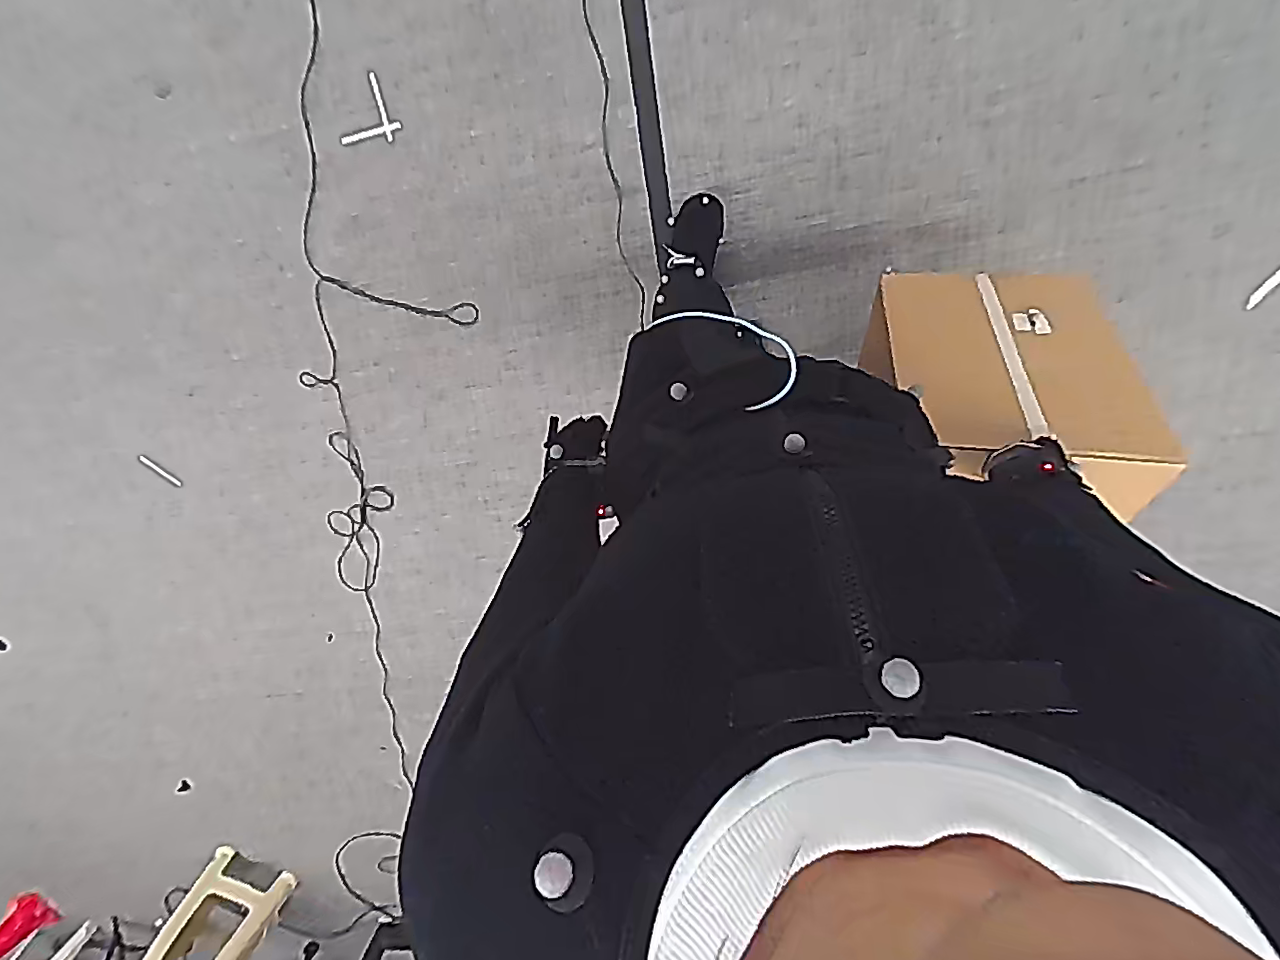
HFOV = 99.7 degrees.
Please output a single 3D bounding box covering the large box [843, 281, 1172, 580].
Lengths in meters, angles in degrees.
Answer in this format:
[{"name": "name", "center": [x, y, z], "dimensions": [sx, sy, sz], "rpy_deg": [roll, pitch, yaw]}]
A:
[{"name": "large box", "center": [0.542, -0.087, 0.915], "dimensions": [0.320, 0.408, 0.320], "rpy_deg": [5, 140, 9]}]
